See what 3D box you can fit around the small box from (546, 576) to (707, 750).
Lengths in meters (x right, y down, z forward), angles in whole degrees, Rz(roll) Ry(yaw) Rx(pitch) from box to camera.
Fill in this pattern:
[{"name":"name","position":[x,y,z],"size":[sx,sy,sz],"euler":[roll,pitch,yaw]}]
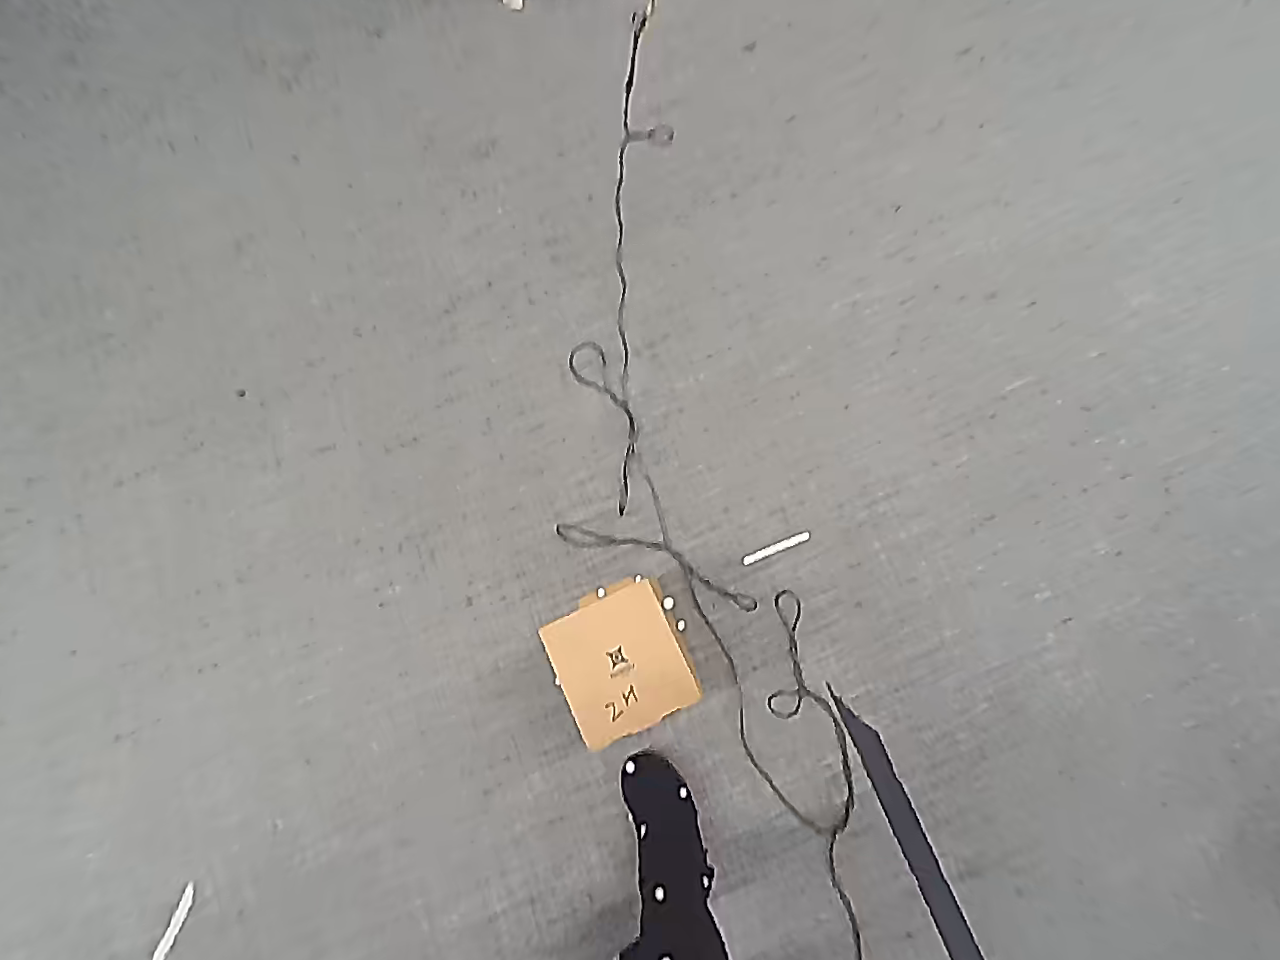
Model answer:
[{"name":"small box","position":[-0.016,0.255,0.791],"size":[0.168,0.176,0.179],"euler":[-25,79,-1]}]
